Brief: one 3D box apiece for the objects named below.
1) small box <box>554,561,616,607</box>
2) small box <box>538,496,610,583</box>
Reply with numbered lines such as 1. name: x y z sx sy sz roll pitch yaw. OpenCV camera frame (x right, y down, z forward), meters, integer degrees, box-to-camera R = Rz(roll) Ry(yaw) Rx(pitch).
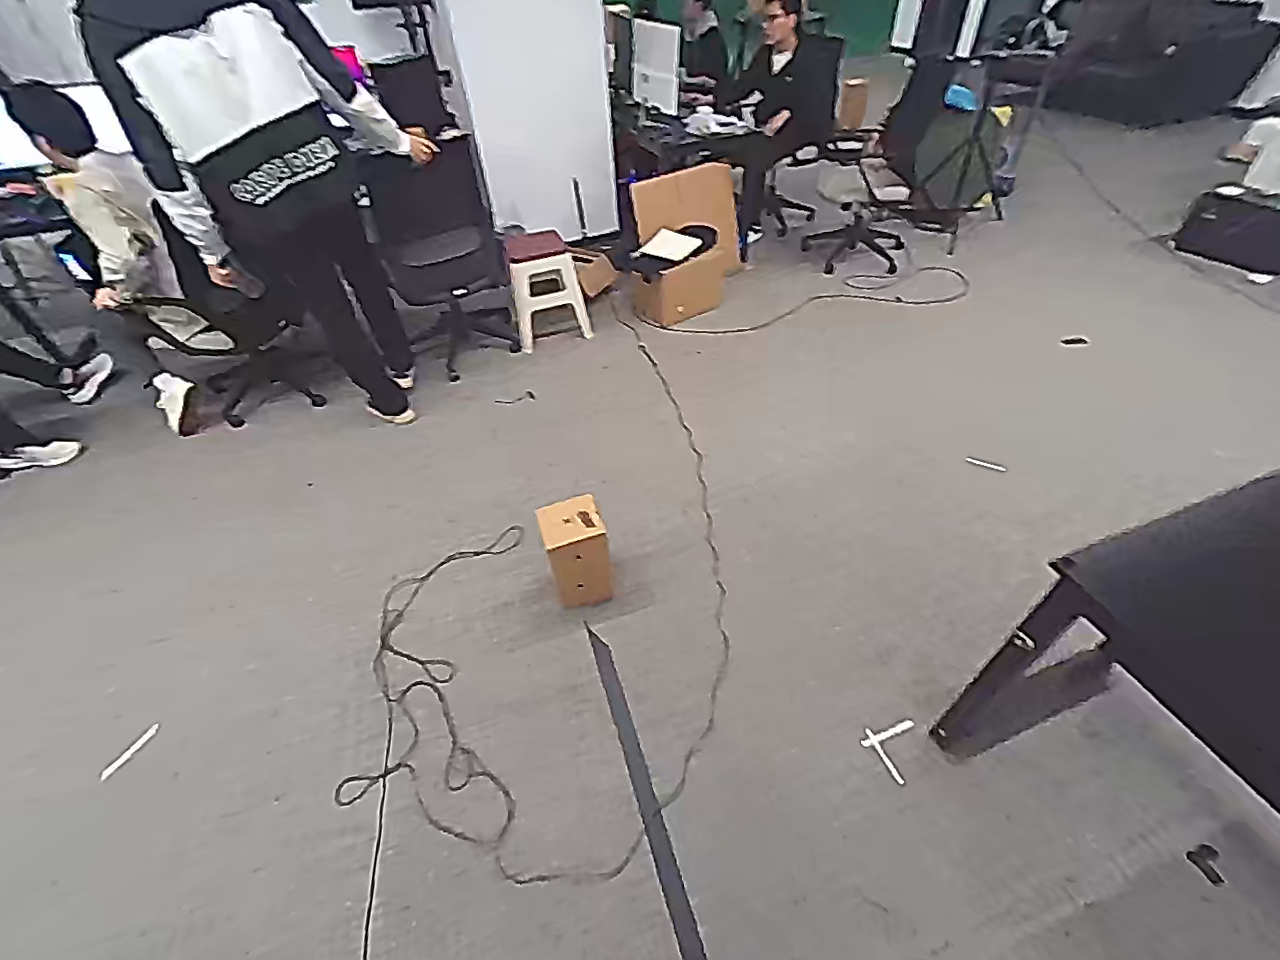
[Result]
1. small box: -0.182 0.287 1.746 0.179 0.176 0.168 -12 45 -6
2. small box: -0.193 0.179 1.621 0.179 0.176 0.168 -16 45 -11
